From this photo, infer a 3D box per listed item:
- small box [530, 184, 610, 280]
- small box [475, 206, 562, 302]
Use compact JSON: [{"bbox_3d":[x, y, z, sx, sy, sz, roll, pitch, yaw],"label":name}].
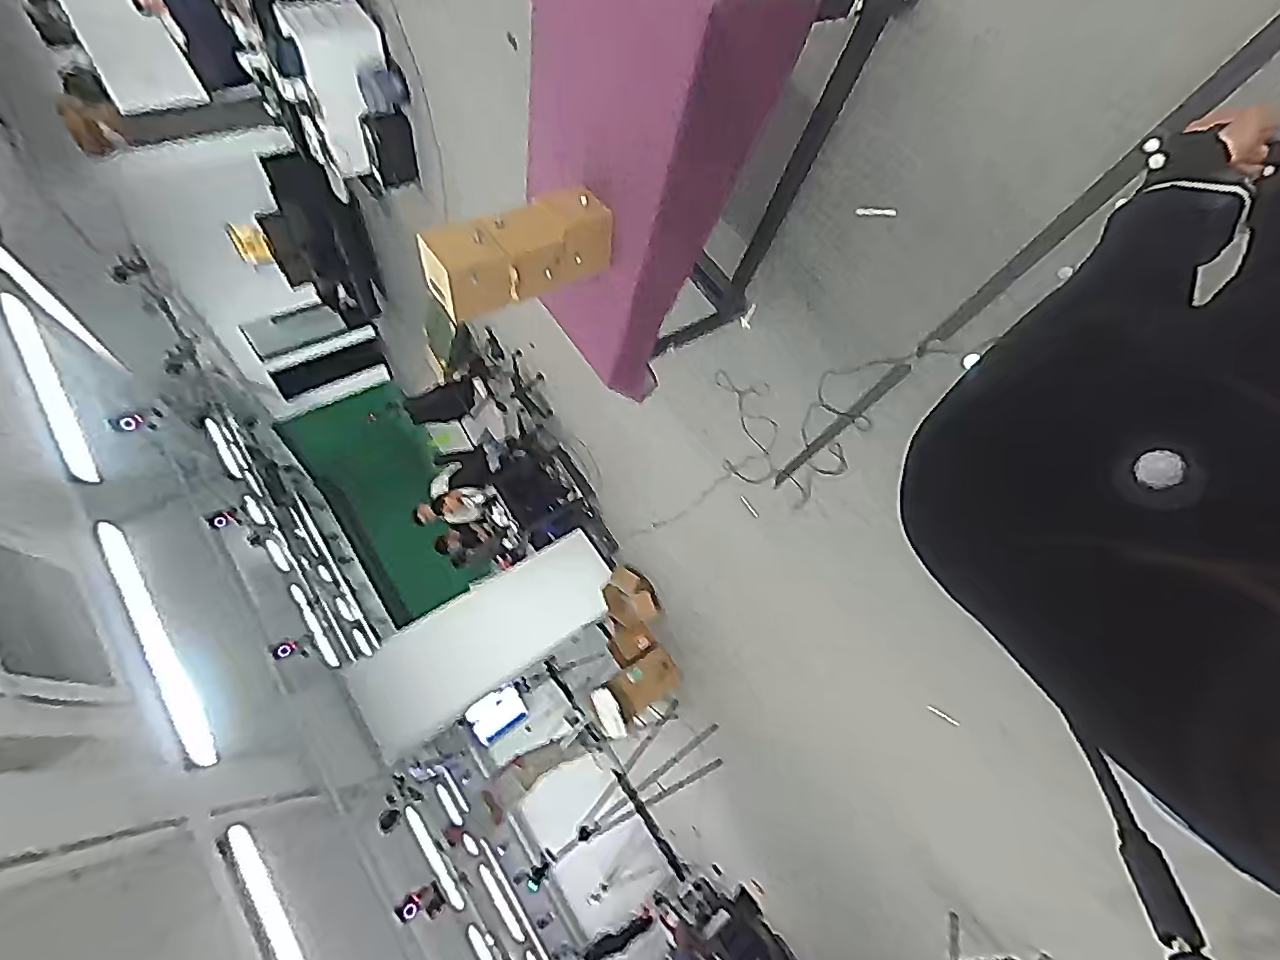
[{"bbox_3d":[-0.200,-0.719,1.562,0.168,0.176,0.179,49,153,23],"label":"small box"},{"bbox_3d":[-0.338,-0.639,1.515,0.179,0.176,0.168,51,155,18],"label":"small box"}]
